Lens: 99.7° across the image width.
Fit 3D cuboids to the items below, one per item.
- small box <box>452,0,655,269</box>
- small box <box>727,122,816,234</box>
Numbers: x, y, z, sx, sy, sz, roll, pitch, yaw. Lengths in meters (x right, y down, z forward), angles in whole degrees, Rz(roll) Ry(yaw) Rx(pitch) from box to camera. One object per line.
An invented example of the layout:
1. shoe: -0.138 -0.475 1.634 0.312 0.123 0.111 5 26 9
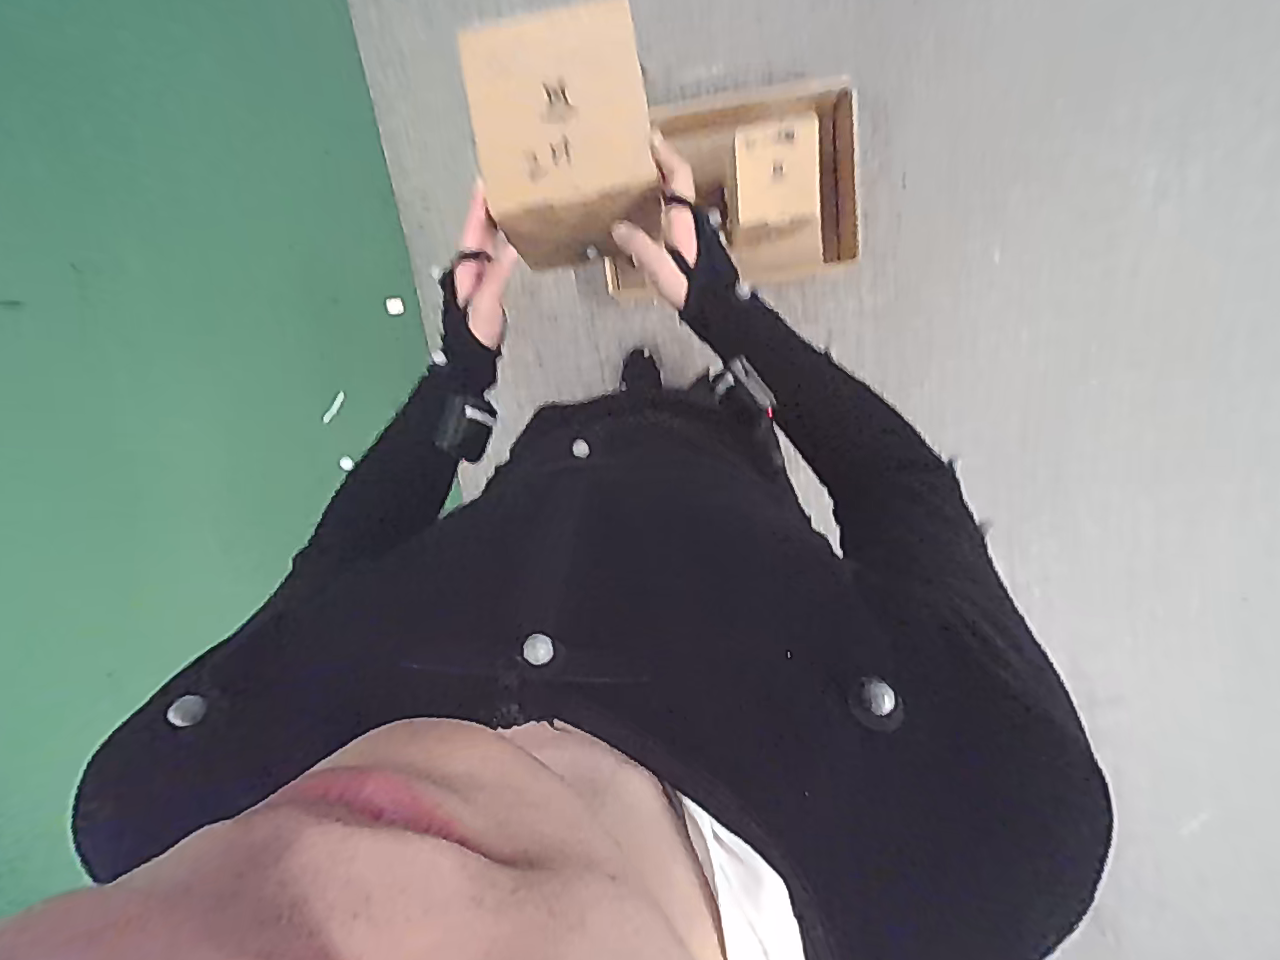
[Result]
1. small box: -0.078 -0.353 0.579 0.168 0.176 0.179 -9 92 4
2. small box: 0.278 -0.637 1.165 0.168 0.176 0.179 -4 106 6
